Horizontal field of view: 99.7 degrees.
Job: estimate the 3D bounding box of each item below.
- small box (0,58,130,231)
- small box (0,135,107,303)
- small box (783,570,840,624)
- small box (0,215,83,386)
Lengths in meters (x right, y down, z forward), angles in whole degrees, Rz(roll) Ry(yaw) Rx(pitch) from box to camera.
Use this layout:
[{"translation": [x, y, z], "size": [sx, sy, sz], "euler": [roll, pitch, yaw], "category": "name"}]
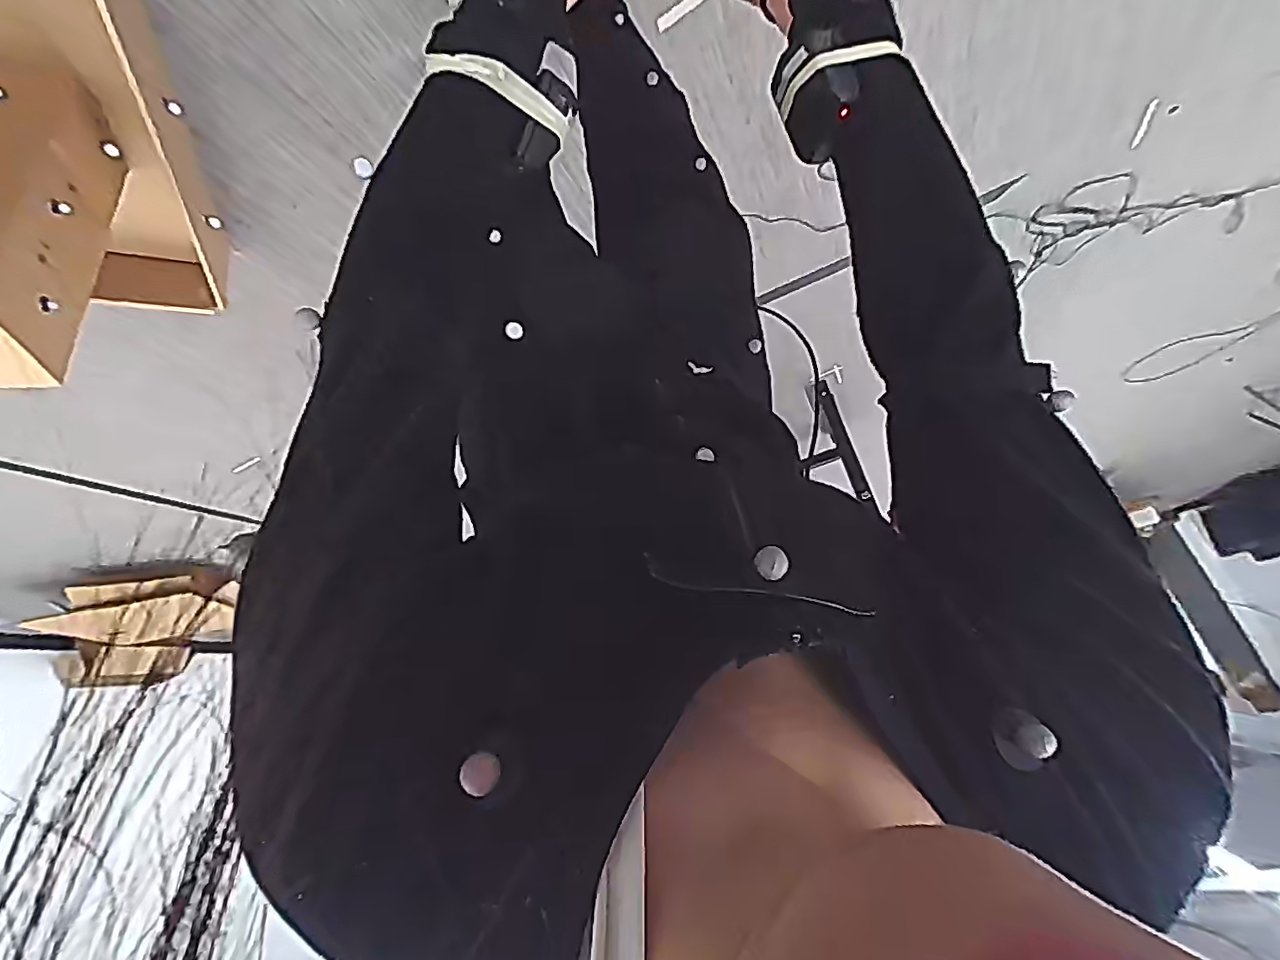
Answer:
[{"translation": [-0.969, -0.534, 0.861], "size": [0.179, 0.176, 0.168], "euler": [-2, 154, -24], "category": "small box"}, {"translation": [-0.942, -0.388, 0.798], "size": [0.179, 0.176, 0.168], "euler": [-2, 152, -19], "category": "small box"}, {"translation": [0.694, 0.473, 2.192], "size": [0.168, 0.176, 0.179], "euler": [-22, 155, 19], "category": "small box"}, {"translation": [-0.905, -0.243, 0.725], "size": [0.179, 0.176, 0.168], "euler": [-4, 153, -19], "category": "small box"}]
